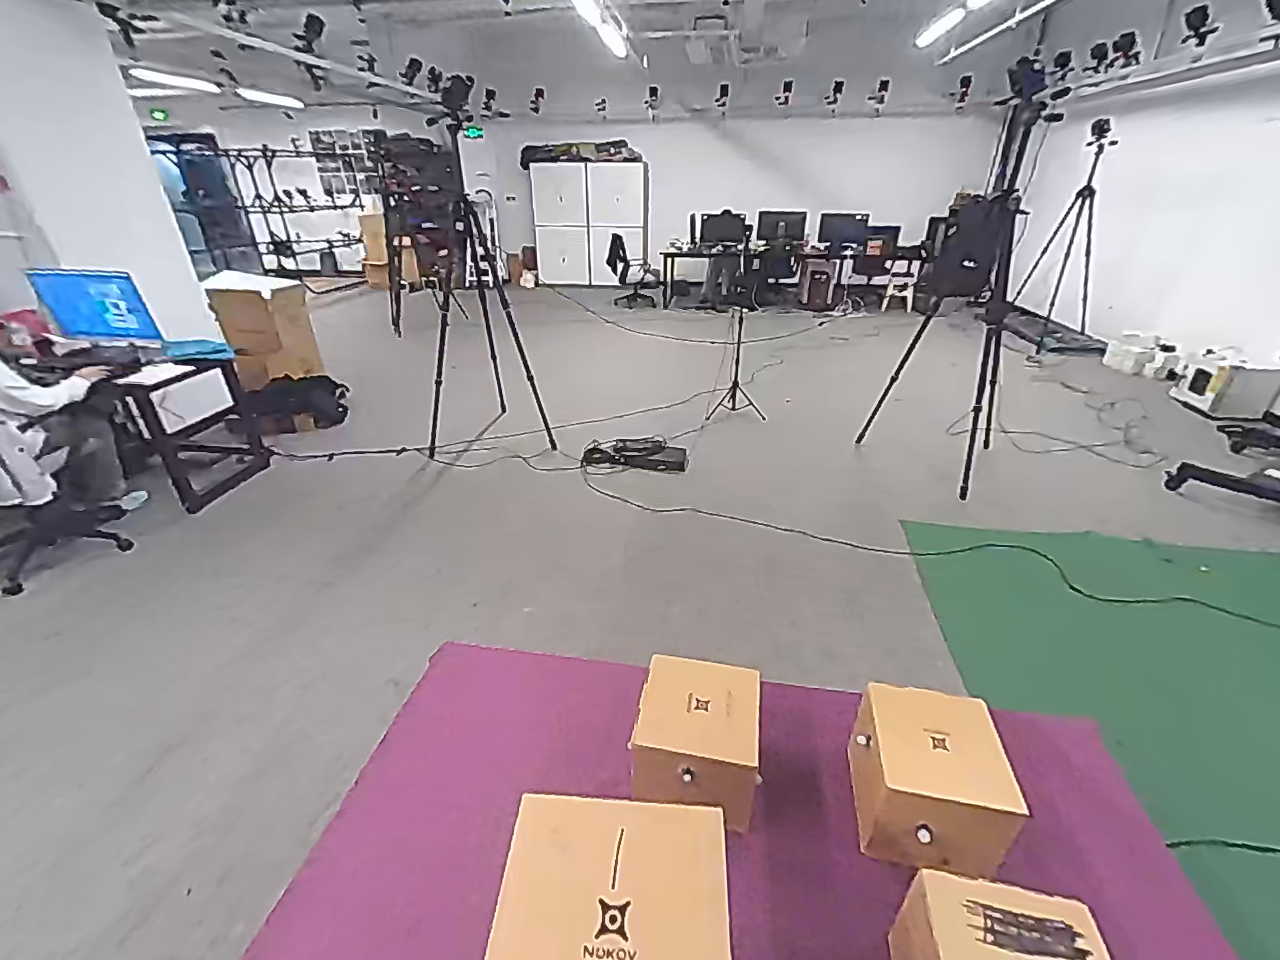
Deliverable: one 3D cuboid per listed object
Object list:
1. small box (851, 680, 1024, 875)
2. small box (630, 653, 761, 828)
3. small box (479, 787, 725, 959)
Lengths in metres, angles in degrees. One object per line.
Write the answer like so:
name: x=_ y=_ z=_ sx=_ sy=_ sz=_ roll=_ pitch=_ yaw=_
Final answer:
small box: x=0.411 y=0.425 z=0.781 sx=0.168 sy=0.176 sz=0.179 roll=5 pitch=29 yaw=11
small box: x=0.088 y=0.400 z=0.837 sx=0.179 sy=0.176 sz=0.168 roll=6 pitch=30 yaw=11
small box: x=-0.022 y=0.372 z=0.417 sx=0.168 sy=0.176 sz=0.179 roll=2 pitch=35 yaw=3
